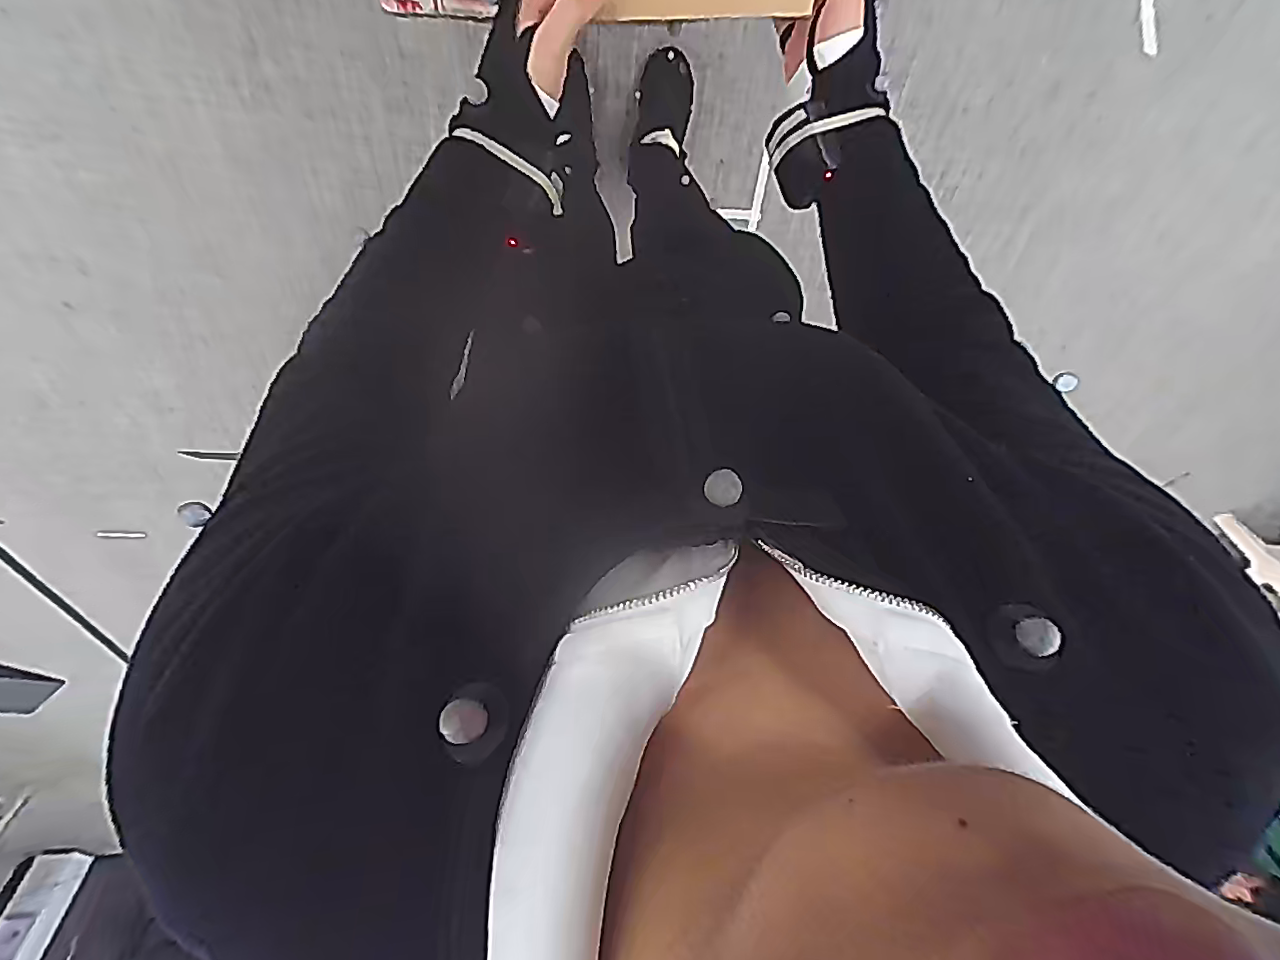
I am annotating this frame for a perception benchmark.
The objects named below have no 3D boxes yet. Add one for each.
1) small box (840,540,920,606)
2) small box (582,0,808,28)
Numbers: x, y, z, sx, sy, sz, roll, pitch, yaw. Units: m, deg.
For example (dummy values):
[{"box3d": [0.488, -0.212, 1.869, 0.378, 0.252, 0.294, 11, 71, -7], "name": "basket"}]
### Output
[{"box3d": [0.859, 0.334, 1.953, 0.179, 0.176, 0.168, 6, 133, -10], "name": "small box"}, {"box3d": [0.033, -0.454, 0.395, 0.168, 0.176, 0.179, -6, 134, -6], "name": "small box"}]
